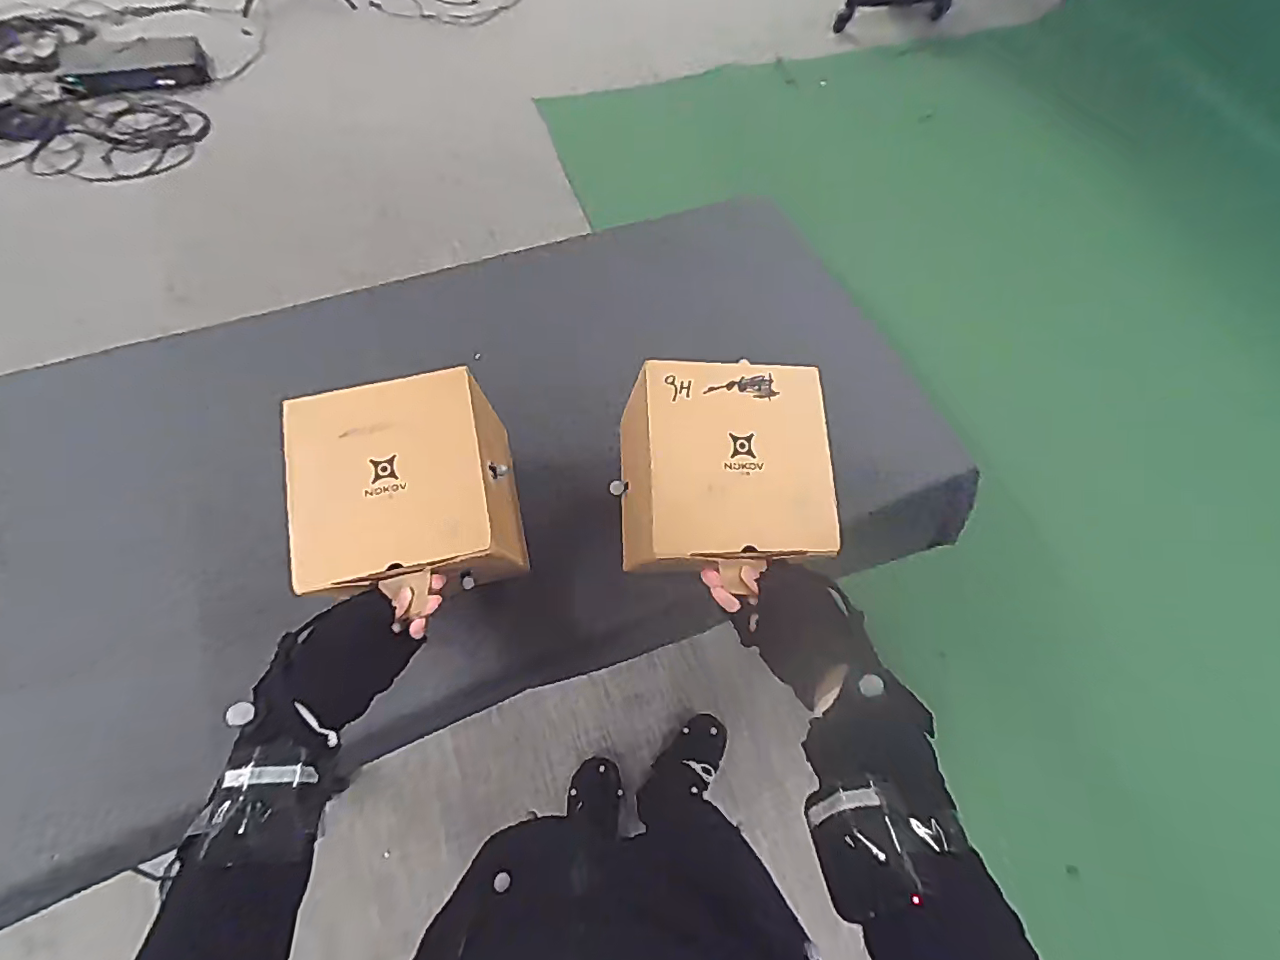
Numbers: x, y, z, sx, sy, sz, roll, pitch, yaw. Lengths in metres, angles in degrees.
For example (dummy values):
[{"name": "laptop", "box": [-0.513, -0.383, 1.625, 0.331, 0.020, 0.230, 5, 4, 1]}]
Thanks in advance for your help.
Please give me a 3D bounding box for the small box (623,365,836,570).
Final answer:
[{"name": "small box", "box": [0.077, 0.001, 0.552, 0.168, 0.176, 0.179, 1, 77, -11]}]
